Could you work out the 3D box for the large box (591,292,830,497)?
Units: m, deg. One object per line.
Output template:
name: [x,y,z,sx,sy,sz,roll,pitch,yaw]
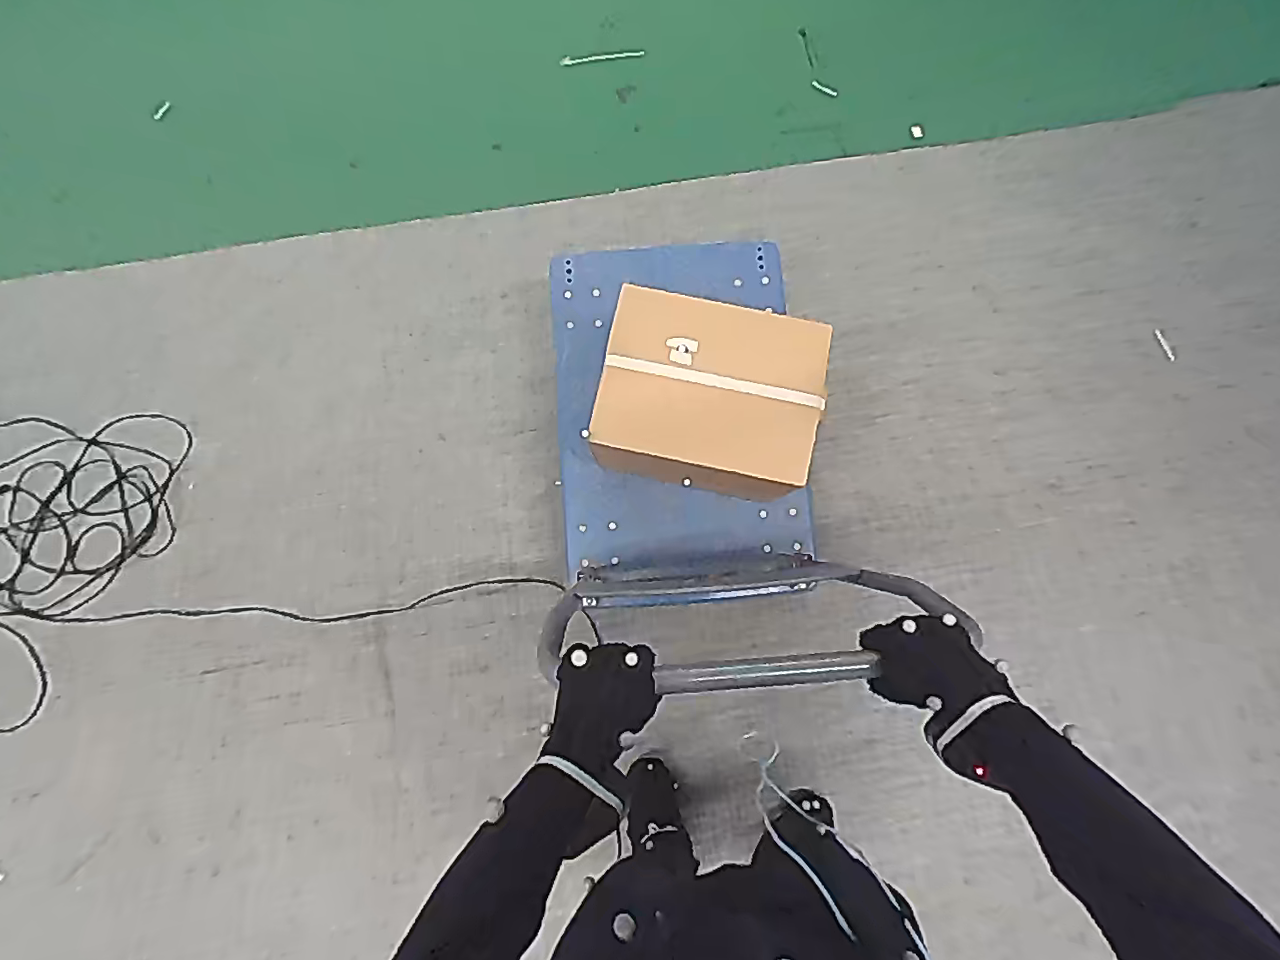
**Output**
large box: [0.137,-0.156,1.138,0.408,0.320,0.320,11,82,3]
